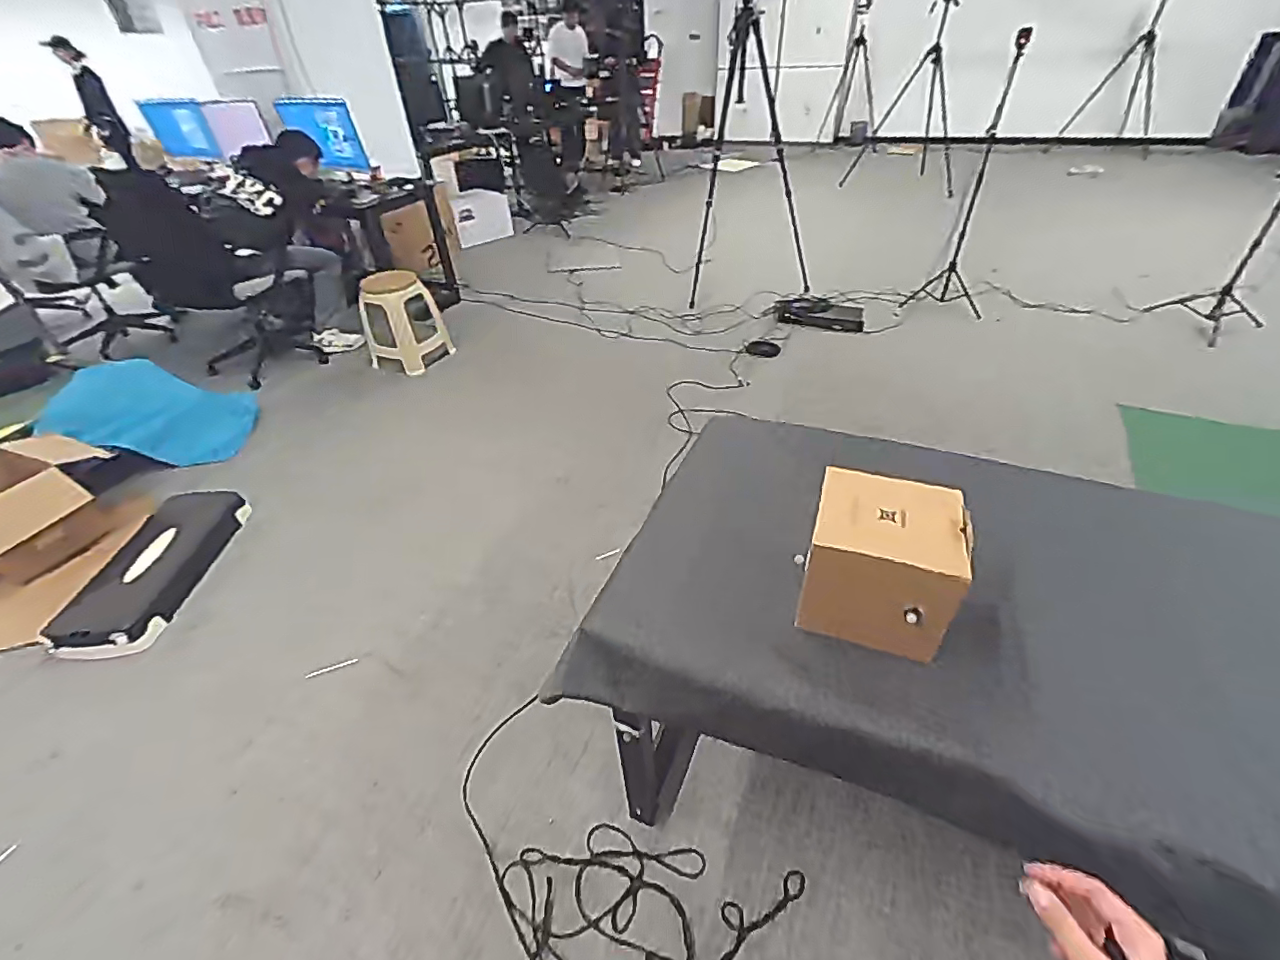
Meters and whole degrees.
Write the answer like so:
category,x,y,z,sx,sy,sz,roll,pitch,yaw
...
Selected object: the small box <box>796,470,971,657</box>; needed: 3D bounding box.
category,x,y,z,sx,sy,sz,roll,pitch,yaw
small box,0.321,0.112,0.732,0.179,0.176,0.168,11,40,19
